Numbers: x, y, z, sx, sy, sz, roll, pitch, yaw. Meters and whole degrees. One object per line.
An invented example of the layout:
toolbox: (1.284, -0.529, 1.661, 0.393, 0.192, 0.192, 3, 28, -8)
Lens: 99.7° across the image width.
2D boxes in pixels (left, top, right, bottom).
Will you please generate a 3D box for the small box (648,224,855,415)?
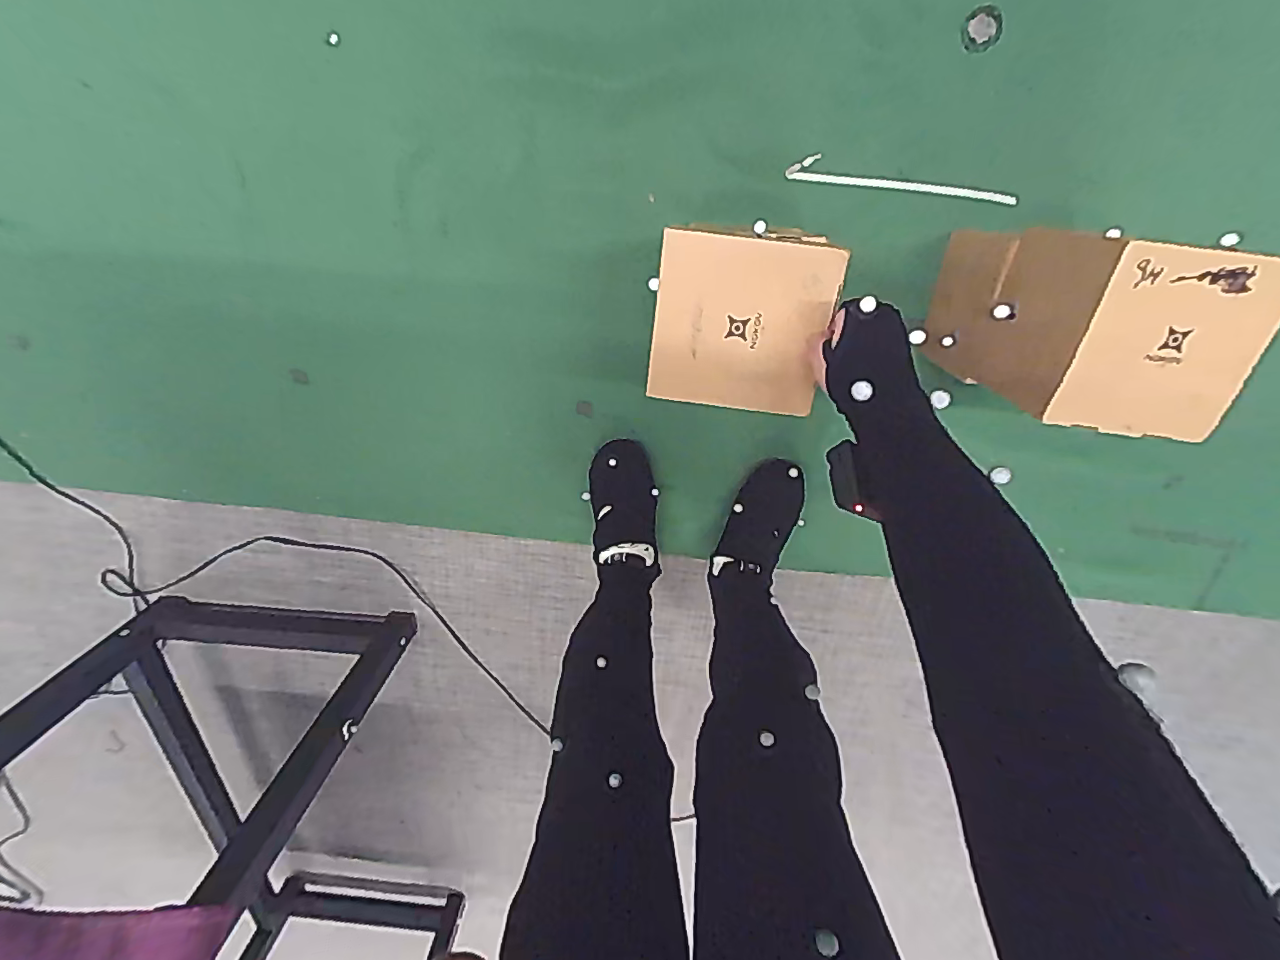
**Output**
small box: (0.109, -0.186, 0.601, 0.179, 0.176, 0.168, 8, 116, 2)

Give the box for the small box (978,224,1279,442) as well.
small box: (0.501, -0.163, 0.576, 0.168, 0.176, 0.179, 8, 119, 0)
